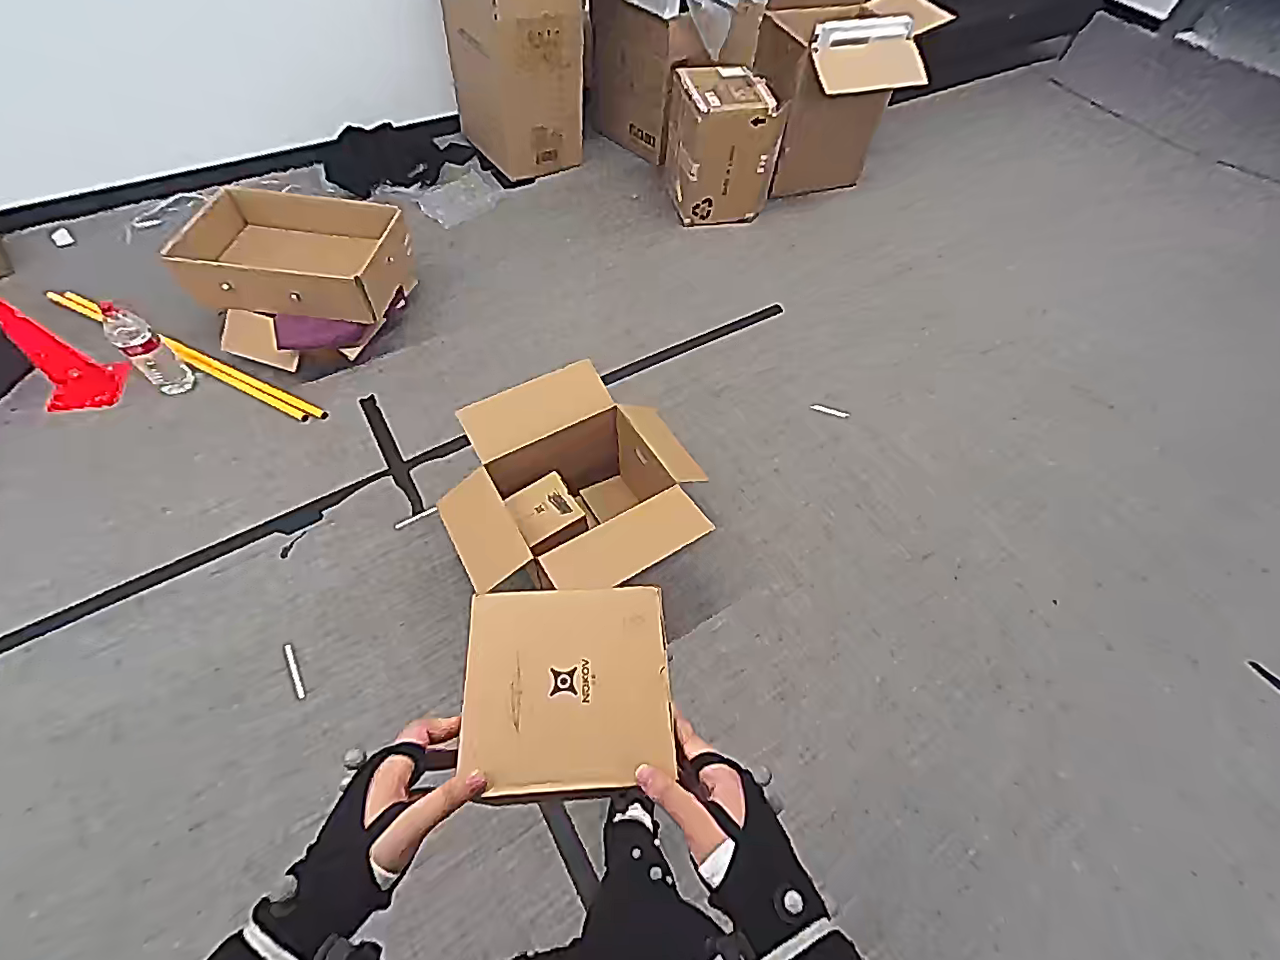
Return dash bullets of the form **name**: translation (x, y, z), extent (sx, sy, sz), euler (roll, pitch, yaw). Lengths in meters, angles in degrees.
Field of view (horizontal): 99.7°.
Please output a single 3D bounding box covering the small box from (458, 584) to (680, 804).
- **small box**: translation (-0.065, 0.214, 0.532), extent (0.179, 0.176, 0.168), euler (-3, 56, -5)
